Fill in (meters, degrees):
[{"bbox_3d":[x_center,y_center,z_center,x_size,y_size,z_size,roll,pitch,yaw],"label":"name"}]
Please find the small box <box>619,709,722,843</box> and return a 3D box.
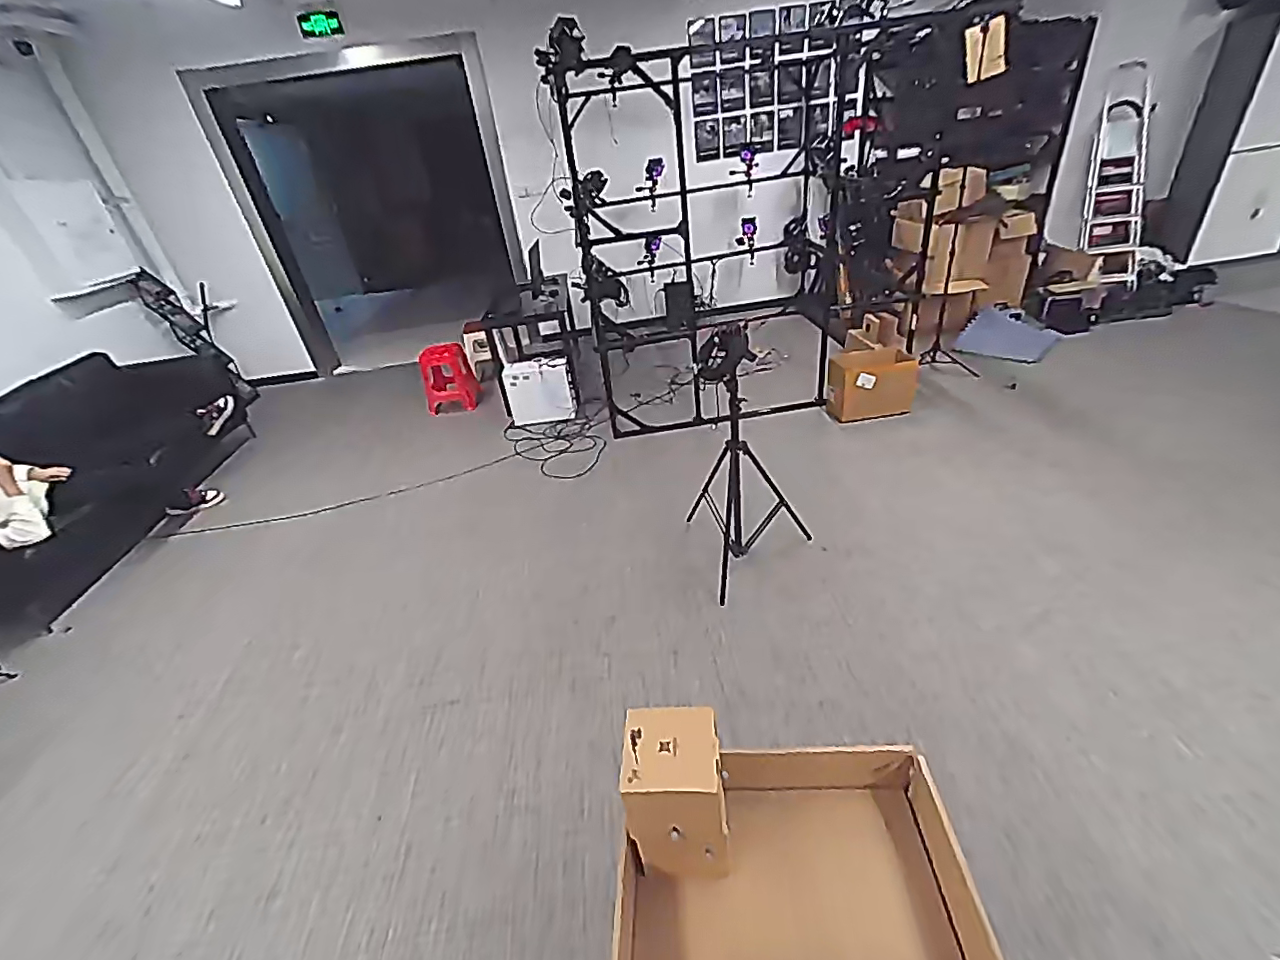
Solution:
[{"bbox_3d":[0.064,0.557,1.021,0.179,0.176,0.168,-4,31,7],"label":"small box"}]
